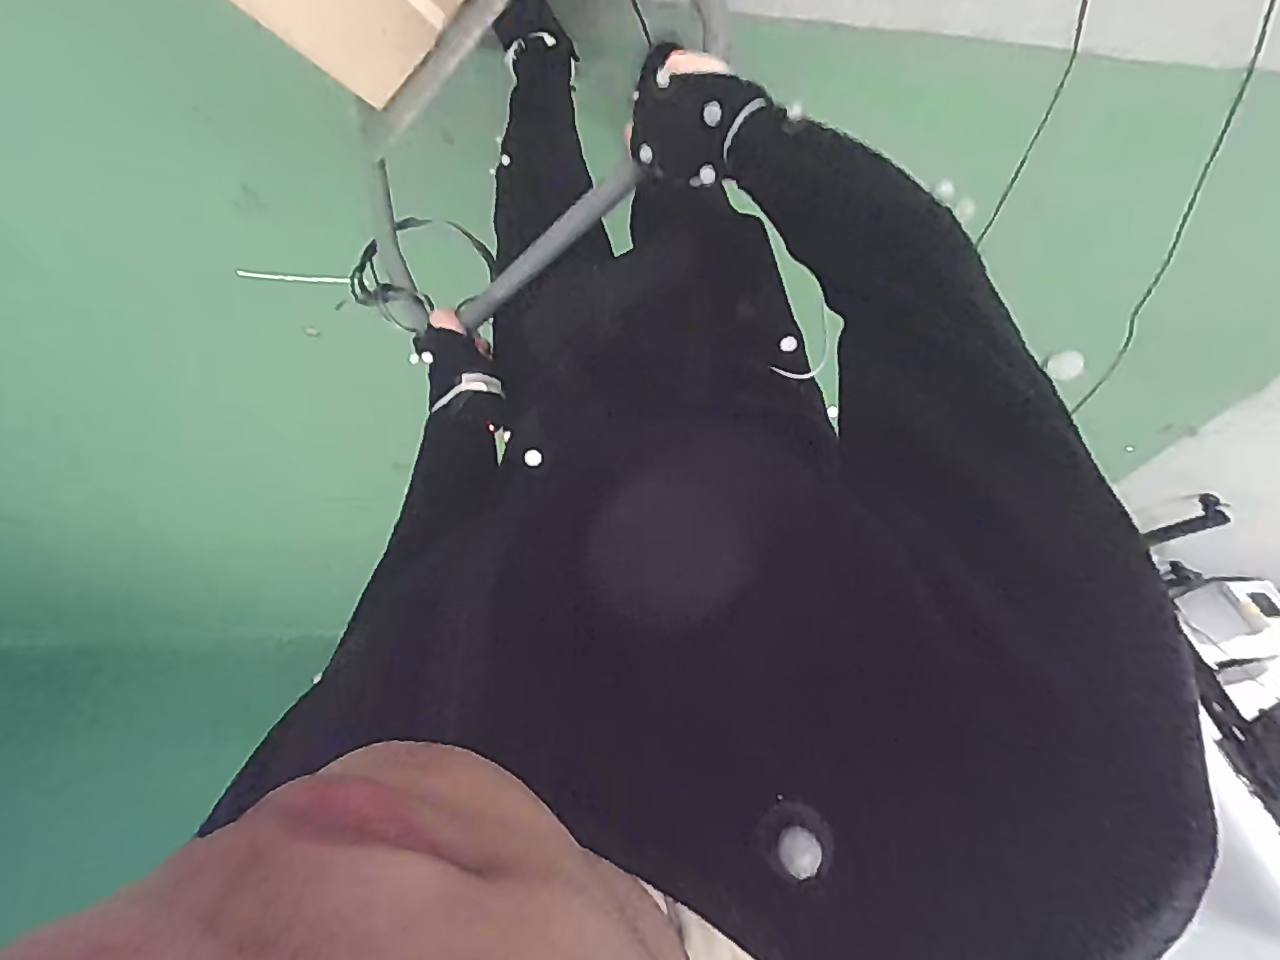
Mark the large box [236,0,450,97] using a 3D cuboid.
[{"bbox_3d":[-0.412,-0.766,0.593,0.320,0.320,0.408,-28,156,27],"label":"large box"}]
